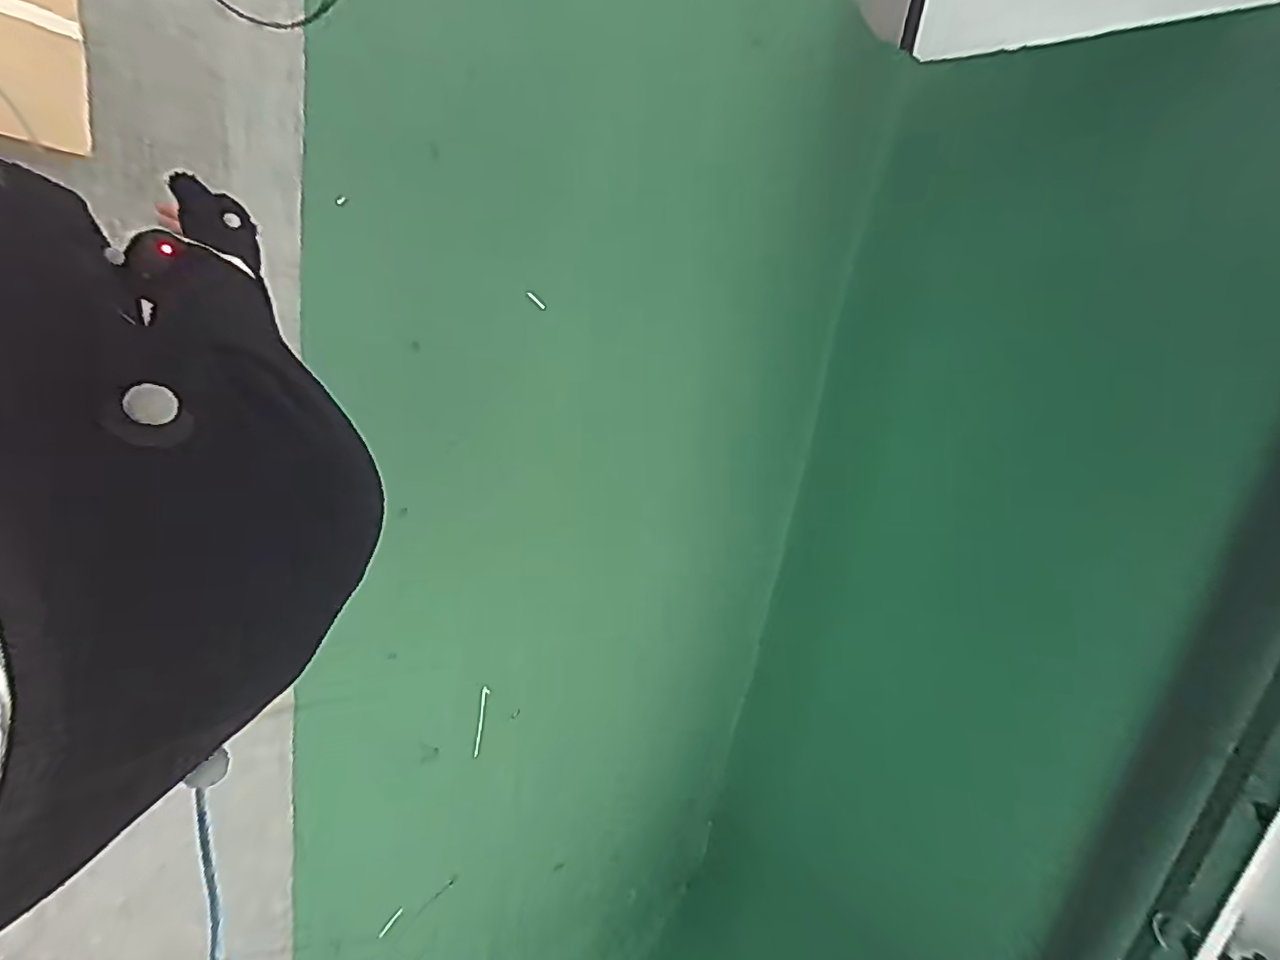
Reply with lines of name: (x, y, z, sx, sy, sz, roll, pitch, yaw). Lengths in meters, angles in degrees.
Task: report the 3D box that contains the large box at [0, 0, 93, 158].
large box: (-1.012, -0.652, 0.686, 0.408, 0.320, 0.320, -8, 114, -49)
